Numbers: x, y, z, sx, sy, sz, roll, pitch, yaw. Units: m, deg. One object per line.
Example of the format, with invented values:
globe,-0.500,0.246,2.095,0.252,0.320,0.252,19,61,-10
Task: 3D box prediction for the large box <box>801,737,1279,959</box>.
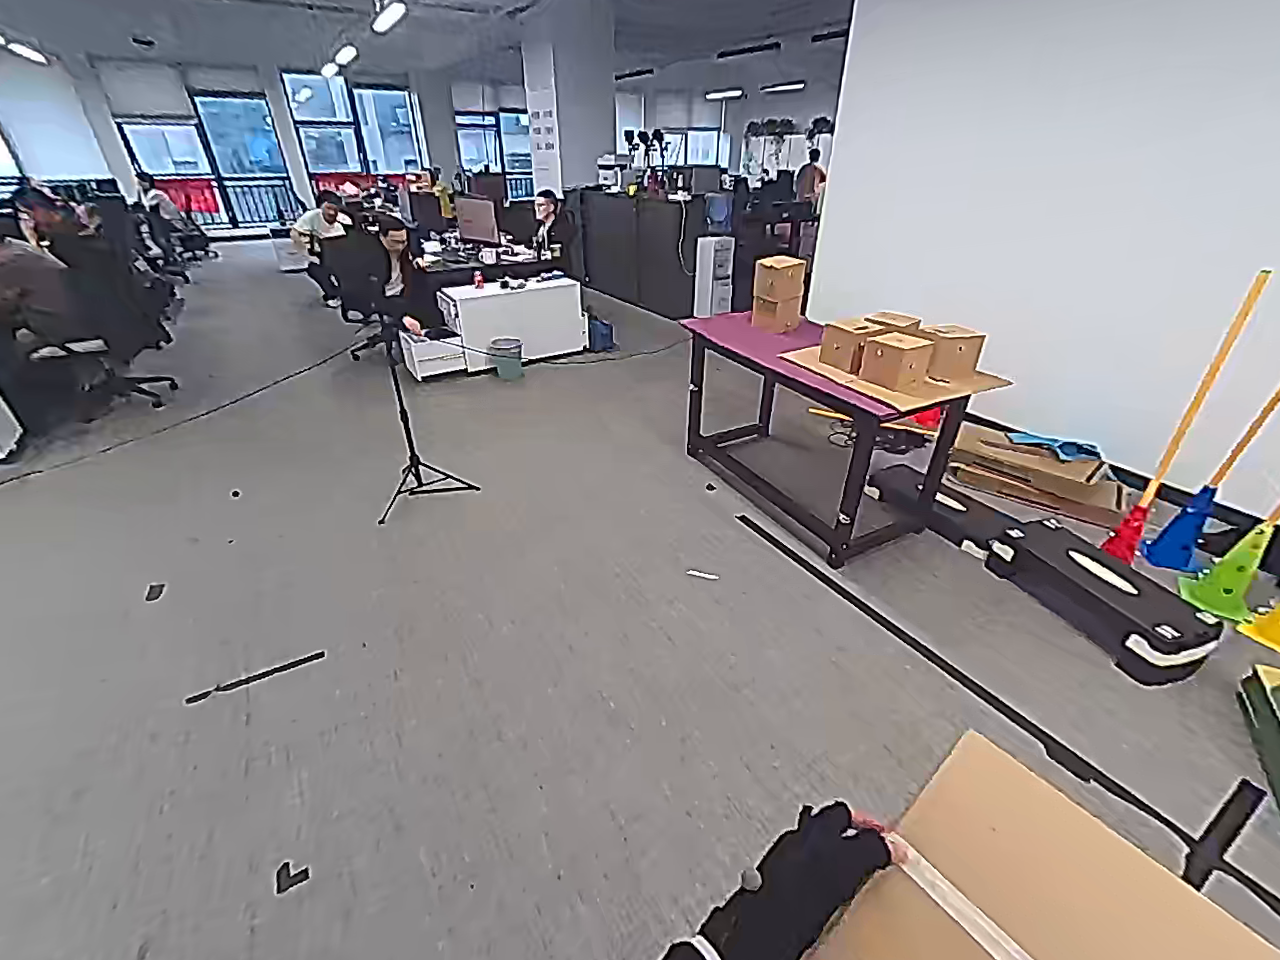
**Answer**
large box,0.354,0.529,0.455,0.320,0.320,0.408,-29,46,-29
